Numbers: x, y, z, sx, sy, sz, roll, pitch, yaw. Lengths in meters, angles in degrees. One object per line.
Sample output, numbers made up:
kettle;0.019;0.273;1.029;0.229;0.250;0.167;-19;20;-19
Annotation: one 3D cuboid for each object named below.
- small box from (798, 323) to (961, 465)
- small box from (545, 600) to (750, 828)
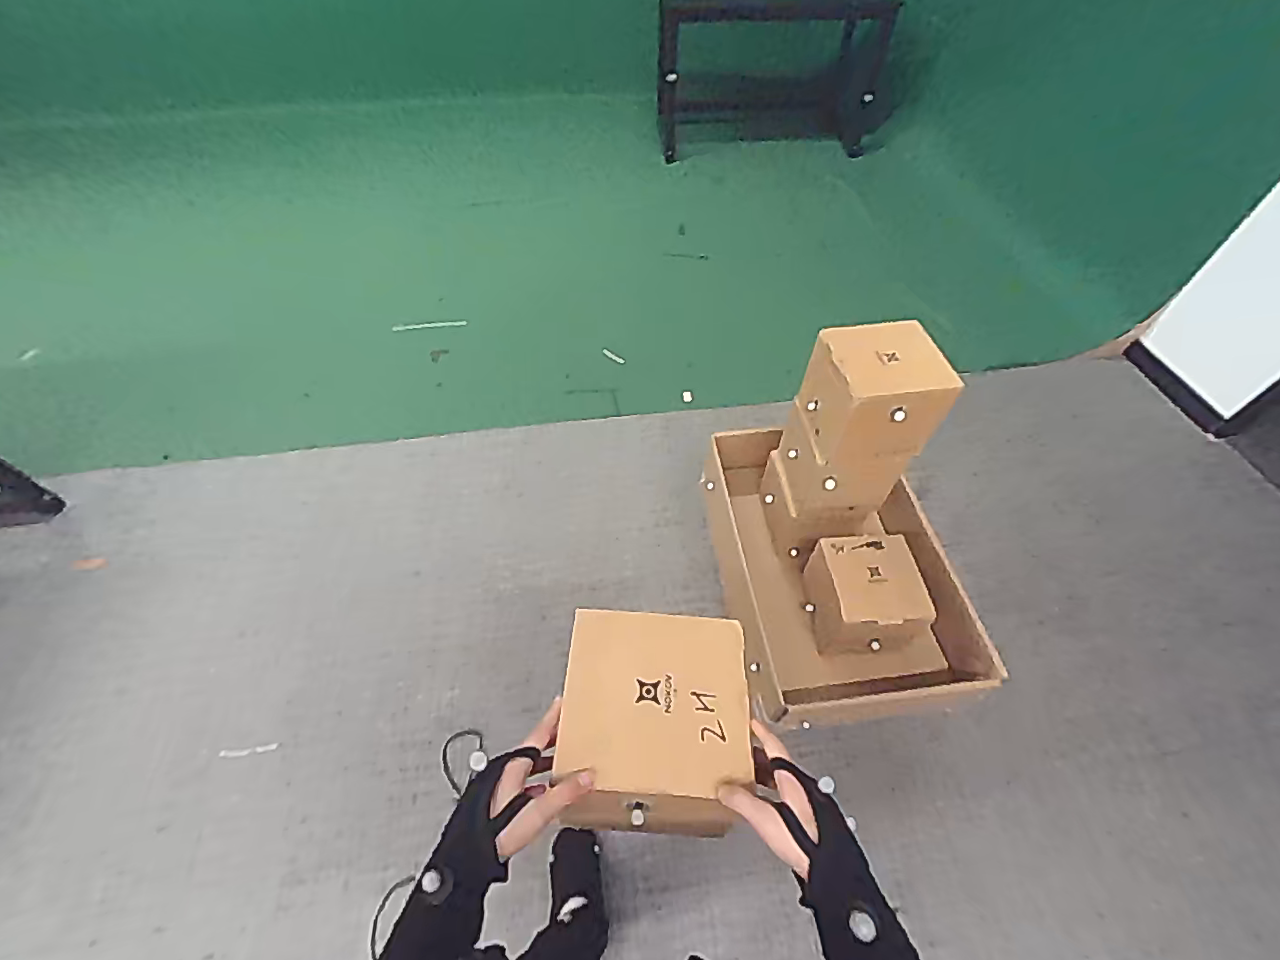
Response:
small box;0.394;-0.144;0.925;0.179;0.176;0.168;-7;53;-5
small box;0.008;0.245;0.562;0.179;0.176;0.168;6;48;0
